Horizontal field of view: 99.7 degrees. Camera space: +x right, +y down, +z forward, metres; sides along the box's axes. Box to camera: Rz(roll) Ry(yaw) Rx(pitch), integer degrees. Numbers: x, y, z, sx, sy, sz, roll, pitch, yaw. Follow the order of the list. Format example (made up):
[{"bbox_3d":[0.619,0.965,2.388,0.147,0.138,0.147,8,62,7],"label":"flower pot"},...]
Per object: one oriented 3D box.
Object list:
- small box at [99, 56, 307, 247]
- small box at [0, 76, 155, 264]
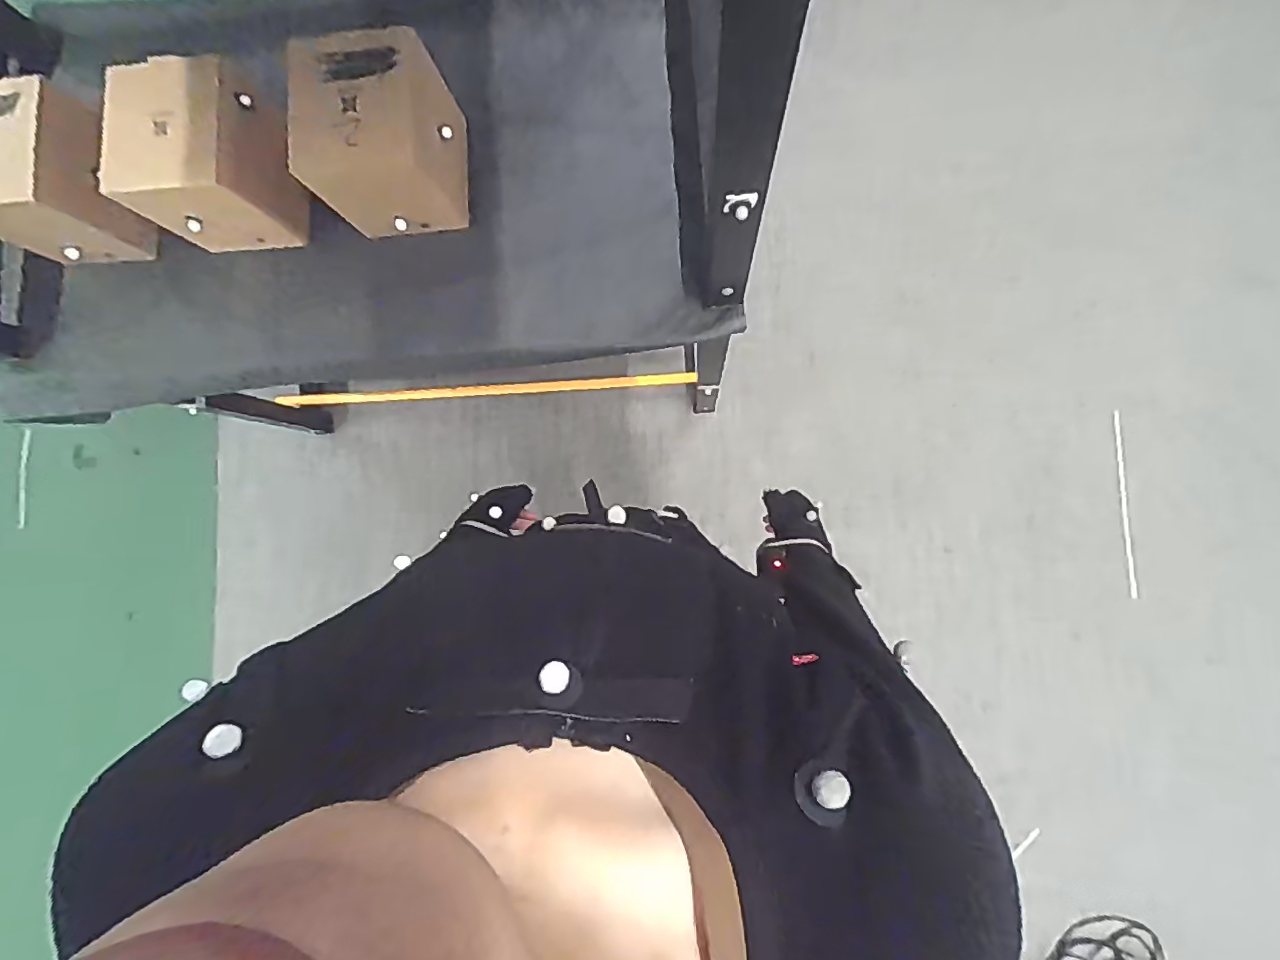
[{"bbox_3d":[-0.610,-0.452,0.775,0.168,0.176,0.179,-2,86,5],"label":"small box"},{"bbox_3d":[-0.862,-0.442,0.794,0.168,0.176,0.179,-1,87,5],"label":"small box"}]
